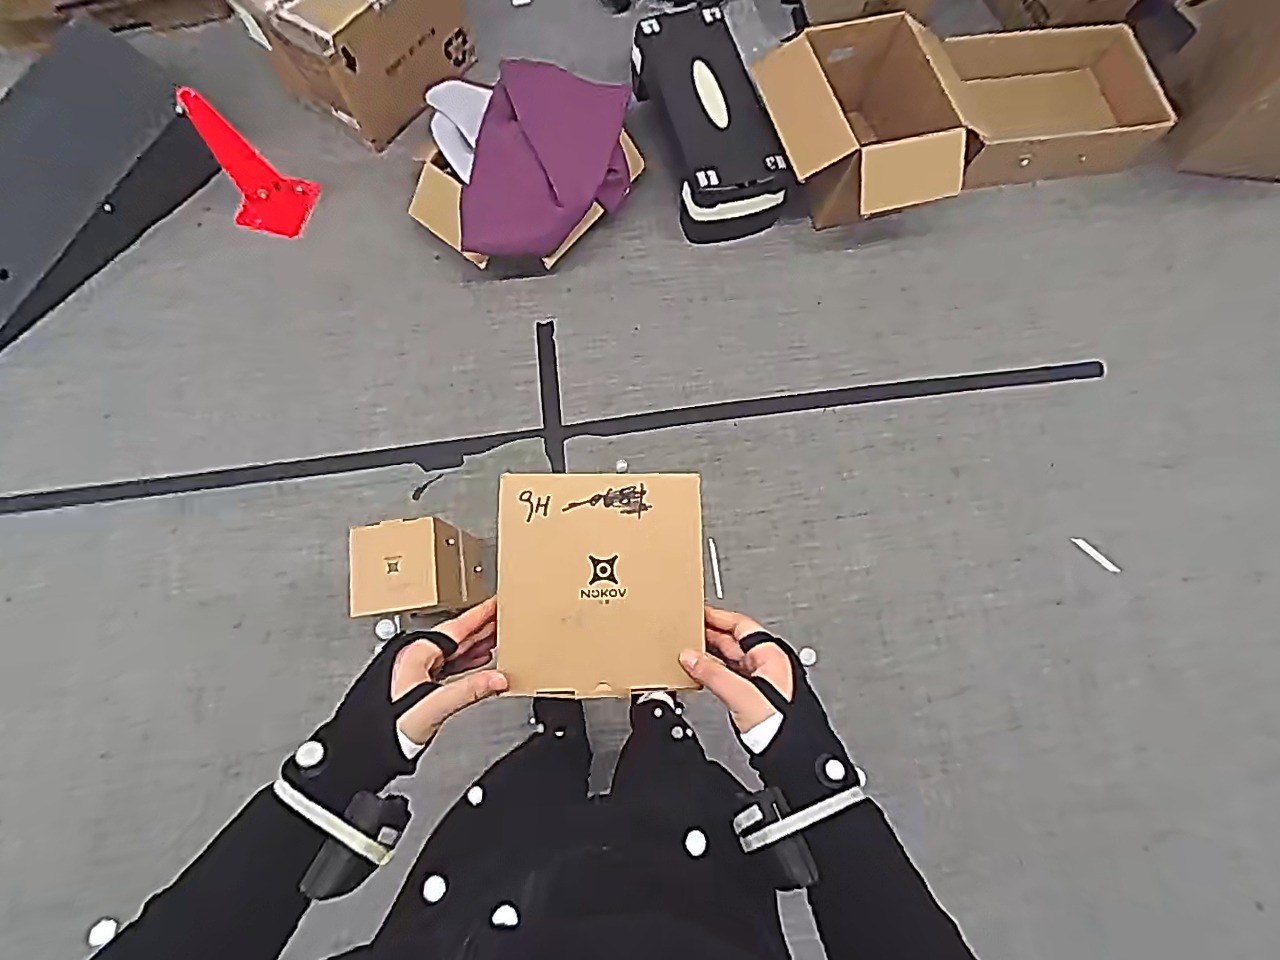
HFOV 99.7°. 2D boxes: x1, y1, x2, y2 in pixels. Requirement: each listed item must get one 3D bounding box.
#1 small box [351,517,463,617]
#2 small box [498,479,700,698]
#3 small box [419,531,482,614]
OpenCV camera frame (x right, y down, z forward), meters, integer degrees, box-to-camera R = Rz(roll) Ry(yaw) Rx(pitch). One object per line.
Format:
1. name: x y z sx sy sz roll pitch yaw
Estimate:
1. small box: -0.476 0.186 1.122 0.168 0.176 0.179 -8 77 -3
2. small box: -0.039 0.093 0.519 0.168 0.176 0.179 0 84 -6
3. small box: -0.480 0.222 1.280 0.179 0.176 0.168 -8 75 -4
